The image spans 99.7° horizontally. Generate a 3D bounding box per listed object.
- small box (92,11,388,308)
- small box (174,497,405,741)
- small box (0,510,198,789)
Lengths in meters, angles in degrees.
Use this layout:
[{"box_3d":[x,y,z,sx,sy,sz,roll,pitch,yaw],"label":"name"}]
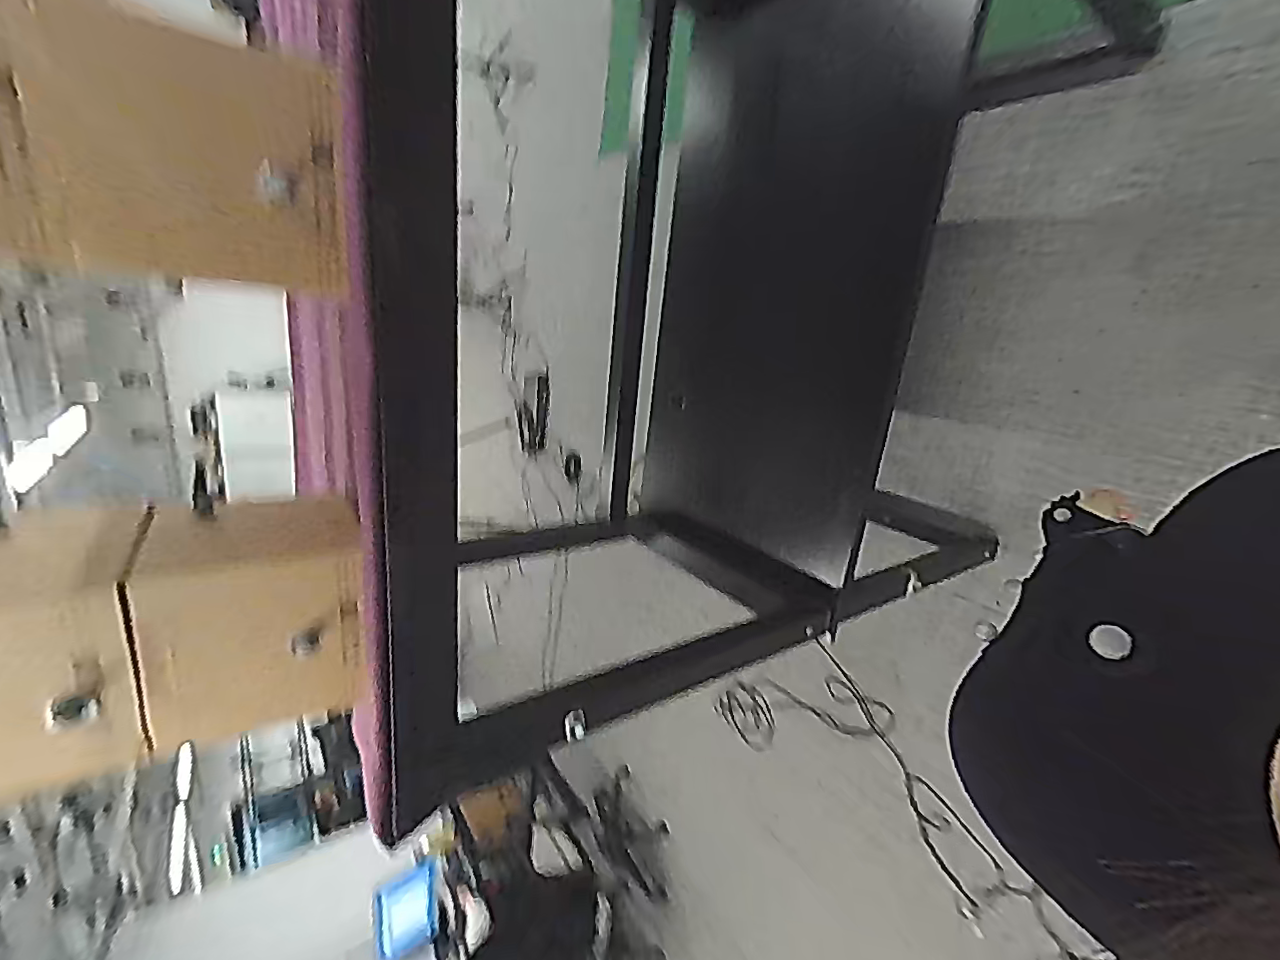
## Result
[{"box_3d":[-0.324,-0.242,0.464,0.179,0.176,0.168,26,117,49],"label":"small box"},{"box_3d":[-0.348,0.120,0.553,0.179,0.176,0.168,26,117,51],"label":"small box"},{"box_3d":[-0.481,0.132,0.460,0.179,0.176,0.168,29,119,50],"label":"small box"}]
